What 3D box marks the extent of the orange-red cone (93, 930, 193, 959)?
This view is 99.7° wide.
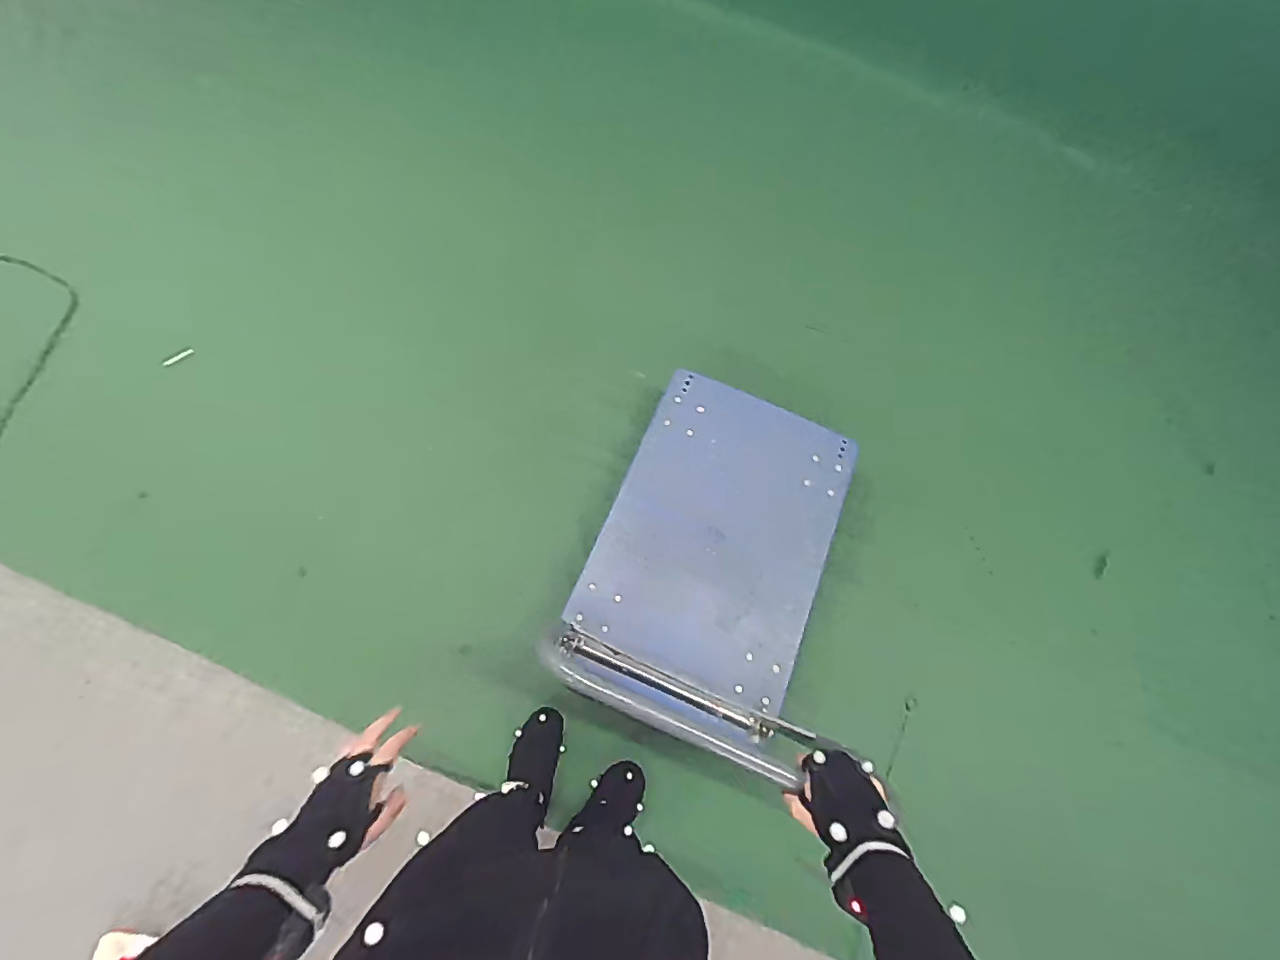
[{"bbox_3d":[-1.058,1.017,0.974,0.199,0.360,0.198,10,70,-1],"label":"orange-red cone"}]
